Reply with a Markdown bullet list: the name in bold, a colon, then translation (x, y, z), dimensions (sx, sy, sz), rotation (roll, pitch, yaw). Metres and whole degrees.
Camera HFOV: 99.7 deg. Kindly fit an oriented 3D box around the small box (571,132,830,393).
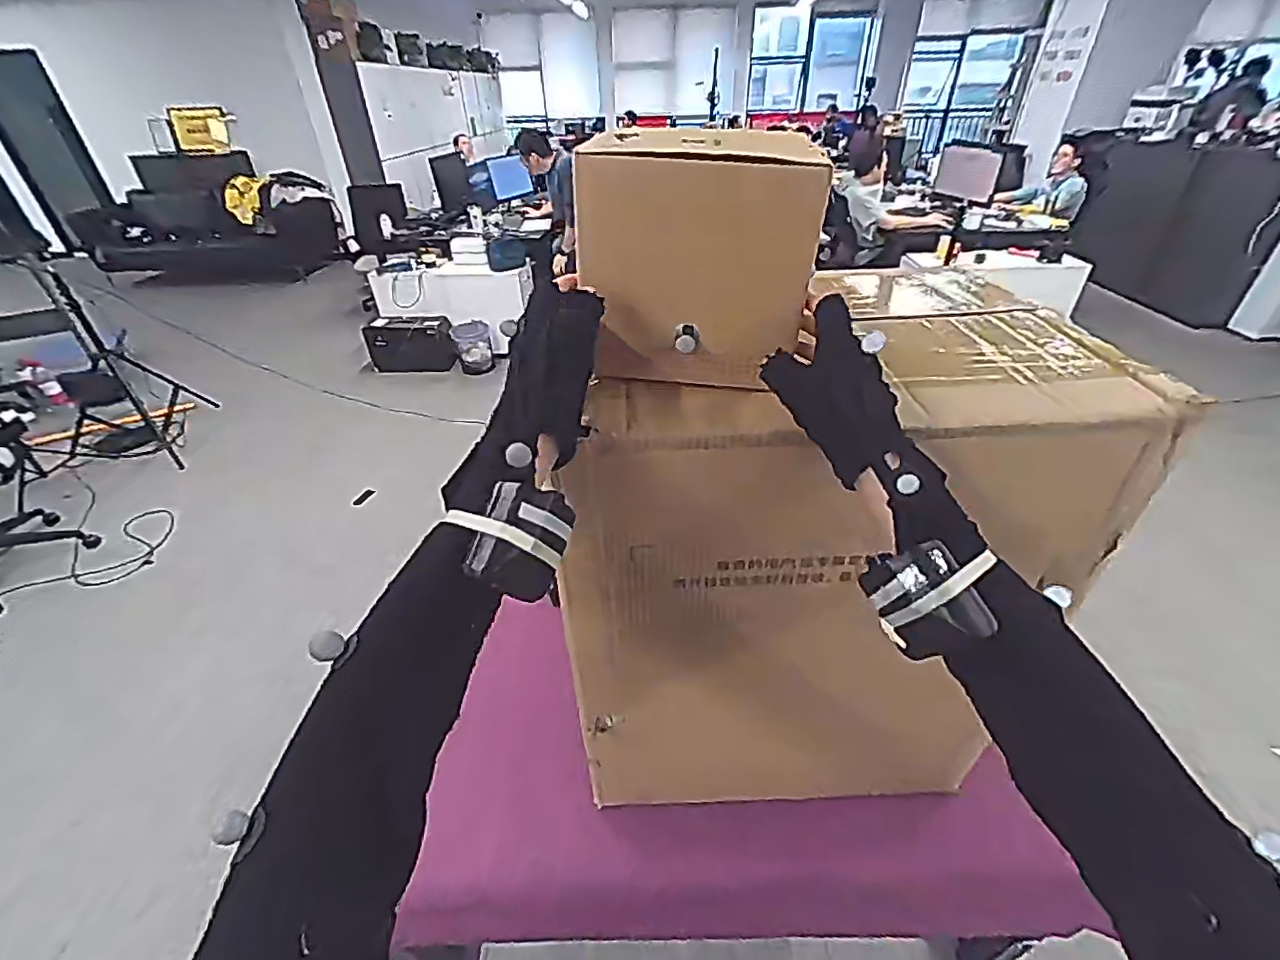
- **small box**: translation (0.046, -0.189, 0.468), dimensions (0.179, 0.176, 0.168), rotation (6, 37, 5)
